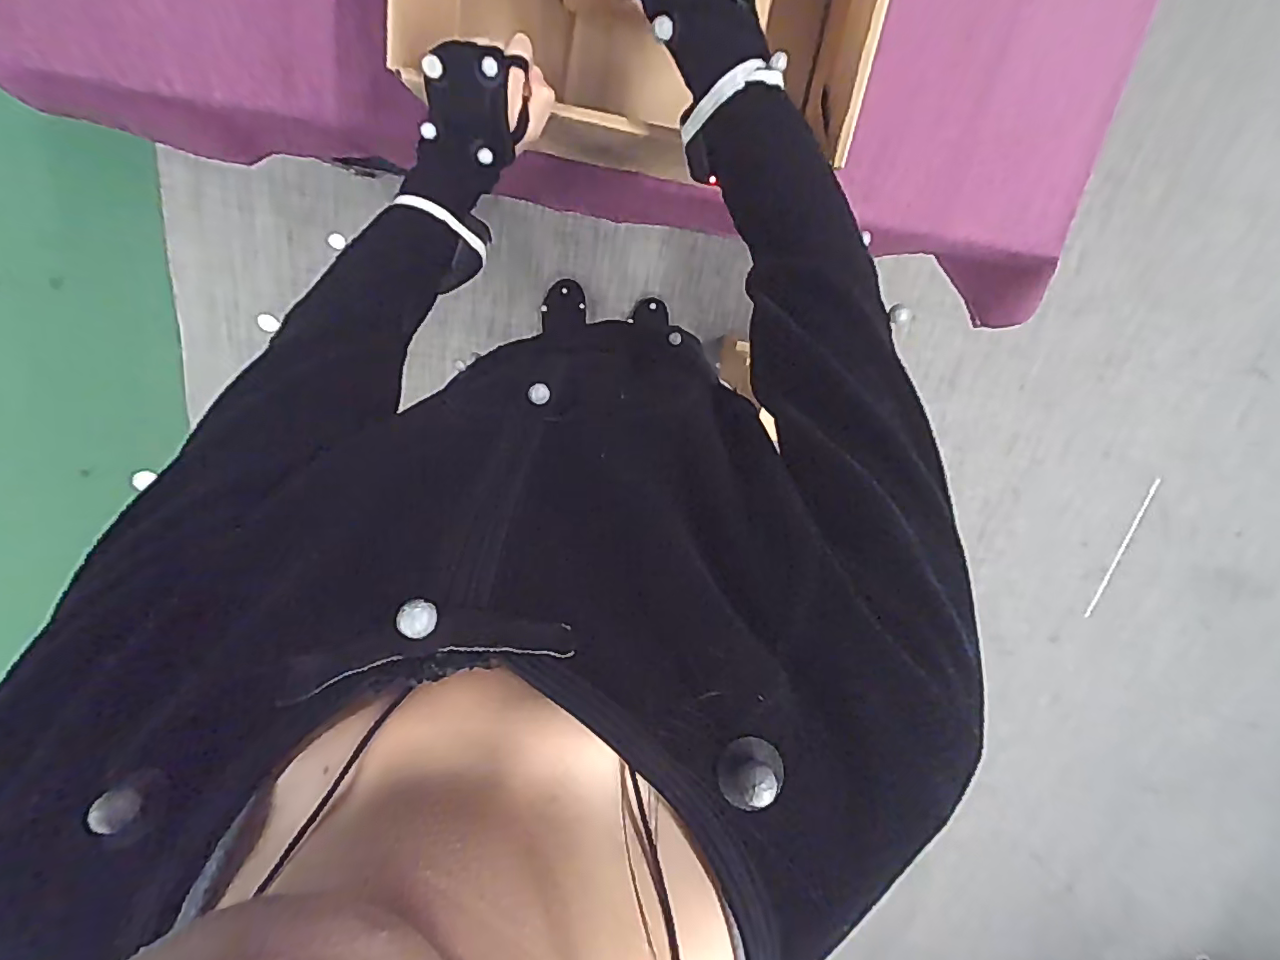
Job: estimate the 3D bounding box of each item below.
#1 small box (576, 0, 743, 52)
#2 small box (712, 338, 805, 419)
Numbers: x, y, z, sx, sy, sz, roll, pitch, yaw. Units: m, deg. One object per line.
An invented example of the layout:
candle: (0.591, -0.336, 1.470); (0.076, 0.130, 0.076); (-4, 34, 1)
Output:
small box: (0.026, -0.508, 0.454); (0.168, 0.176, 0.179); (10, 107, -5)
small box: (0.294, -0.264, 1.382); (0.179, 0.176, 0.168); (7, 110, -4)
